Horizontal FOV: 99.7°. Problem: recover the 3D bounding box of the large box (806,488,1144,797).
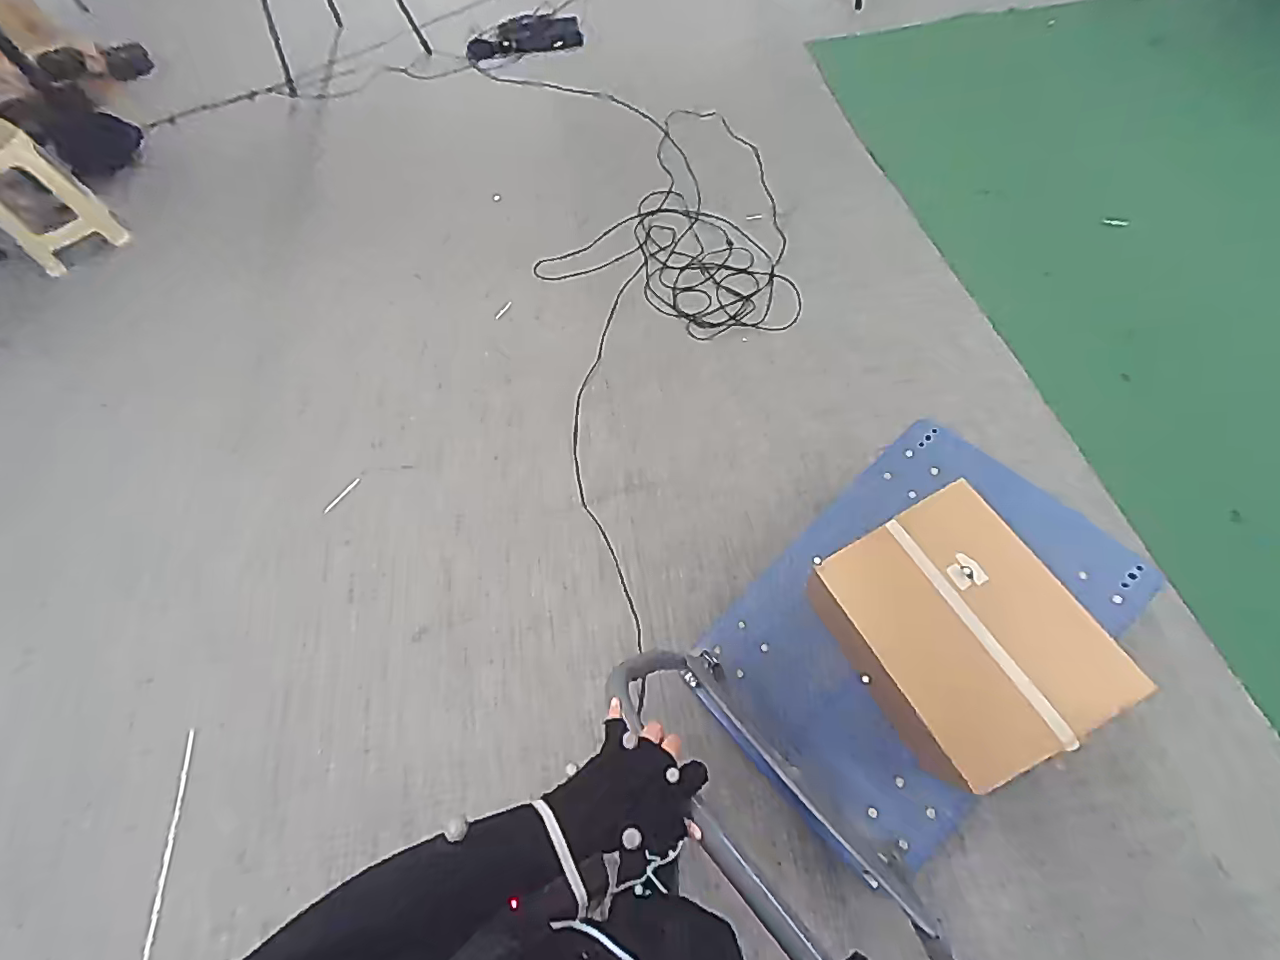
[{"bbox_3d":[0.559,0.296,1.013,0.320,0.320,0.408,-30,64,0],"label":"large box"}]
